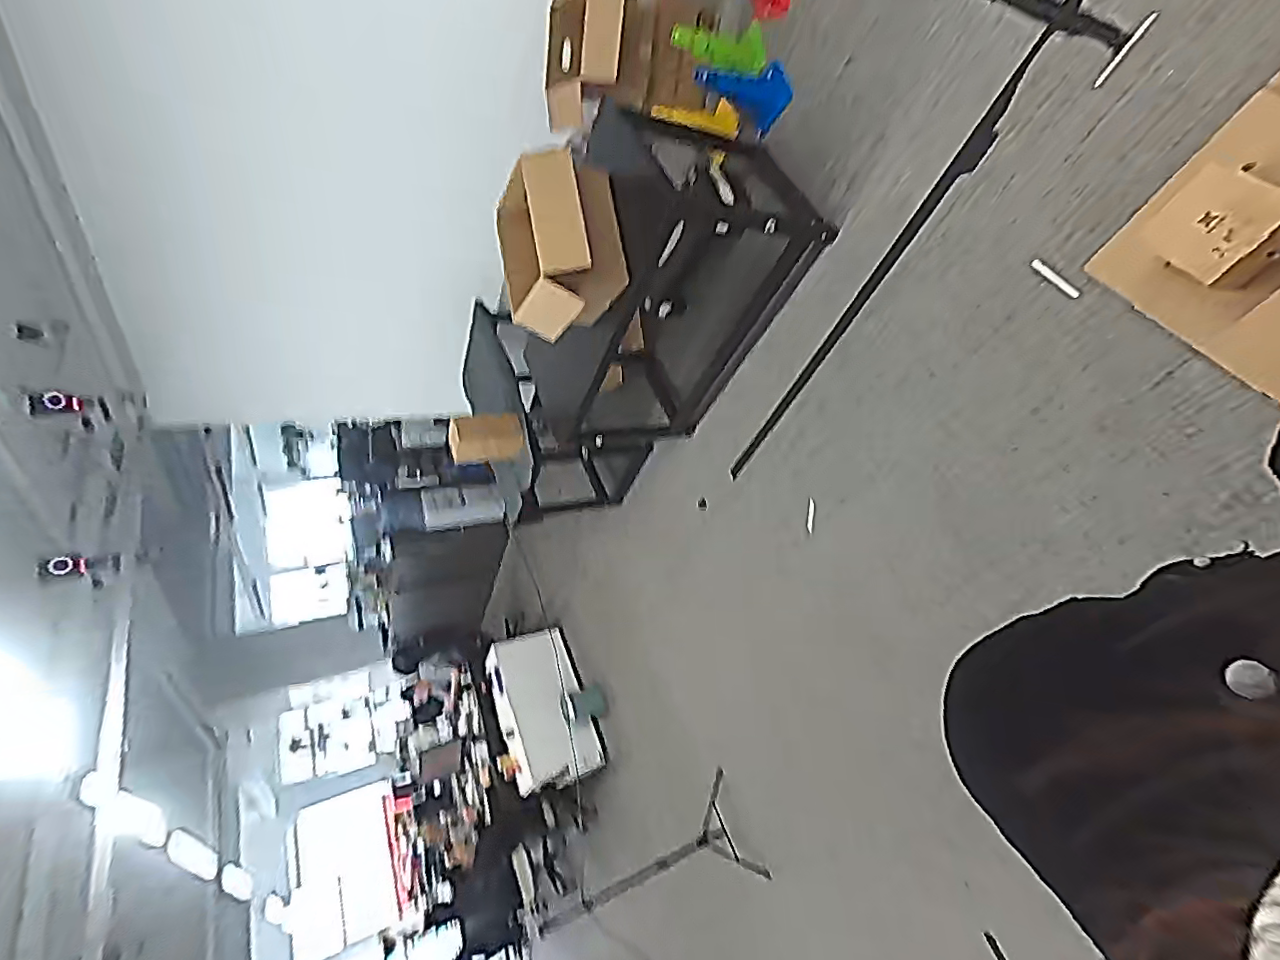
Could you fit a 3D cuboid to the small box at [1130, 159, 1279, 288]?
[{"bbox_3d":[1.151,-0.499,1.070,0.179,0.176,0.168,62,143,31],"label":"small box"}]
